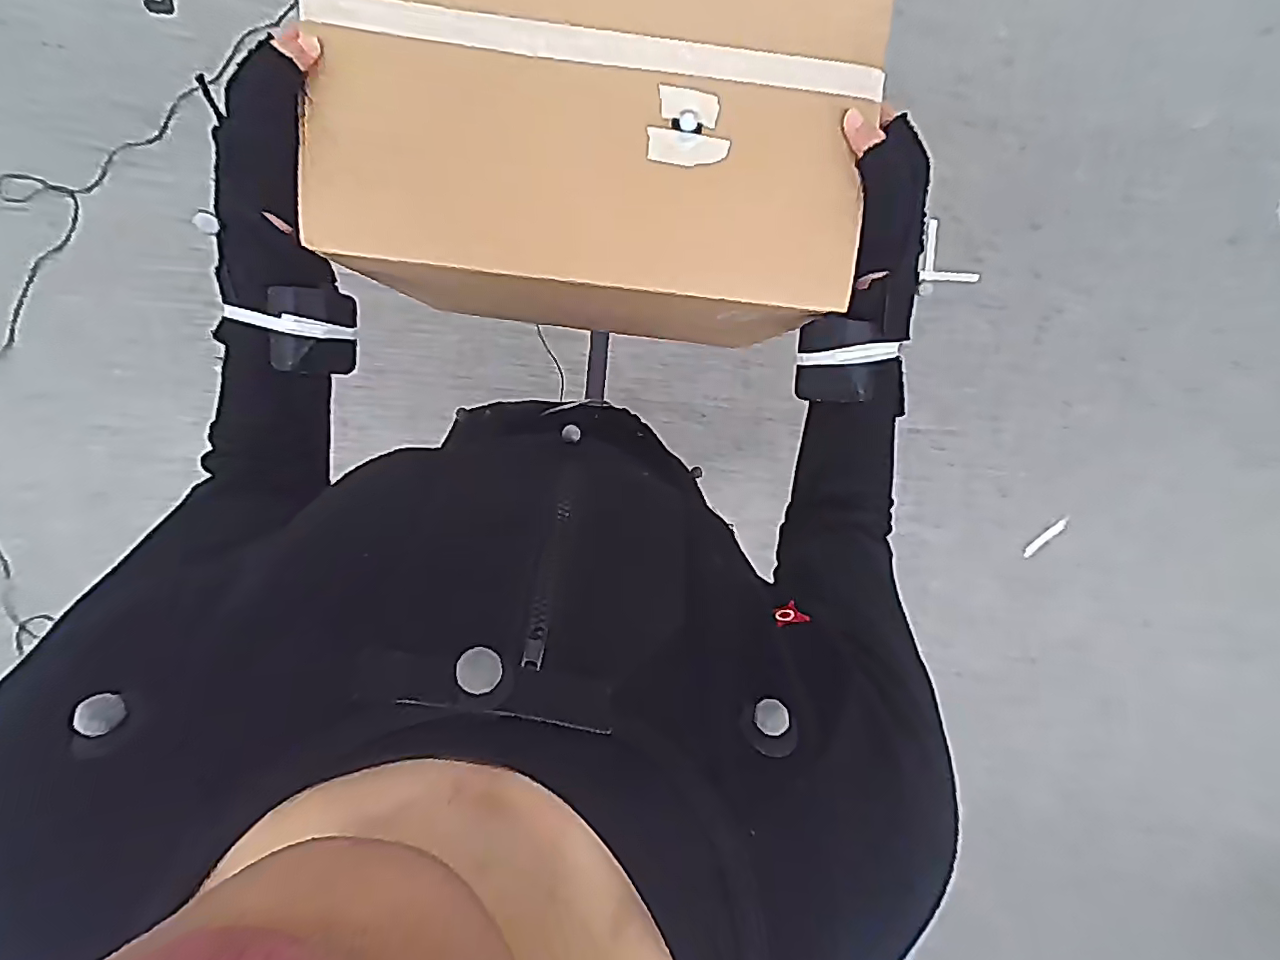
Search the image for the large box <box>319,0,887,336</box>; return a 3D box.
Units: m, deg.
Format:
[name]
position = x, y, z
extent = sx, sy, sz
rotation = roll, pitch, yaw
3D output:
[large box]
position = -0.034, -0.331, 0.533
extent = 0.408, 0.320, 0.320
rotation = 5, 100, -4
